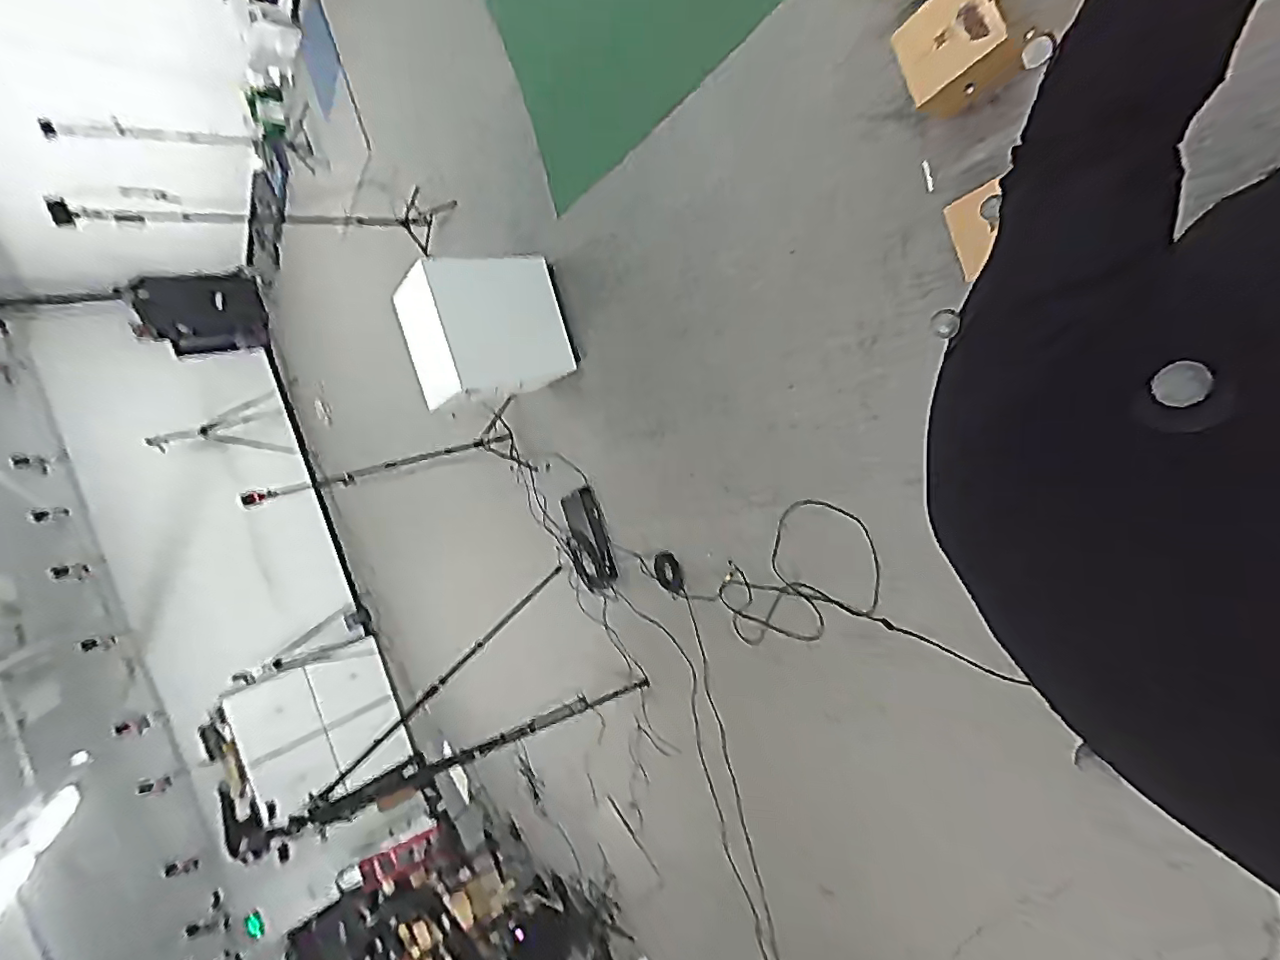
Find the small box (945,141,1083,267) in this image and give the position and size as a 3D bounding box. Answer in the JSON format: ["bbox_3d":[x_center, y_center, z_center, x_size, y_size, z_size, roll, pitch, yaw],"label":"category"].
[{"bbox_3d":[0.773,-0.558,1.117,0.179,0.176,0.168,-18,93,50],"label":"small box"}]

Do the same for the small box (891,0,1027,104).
[{"bbox_3d":[0.656,-0.914,1.102,0.179,0.176,0.168,-22,89,51],"label":"small box"}]
